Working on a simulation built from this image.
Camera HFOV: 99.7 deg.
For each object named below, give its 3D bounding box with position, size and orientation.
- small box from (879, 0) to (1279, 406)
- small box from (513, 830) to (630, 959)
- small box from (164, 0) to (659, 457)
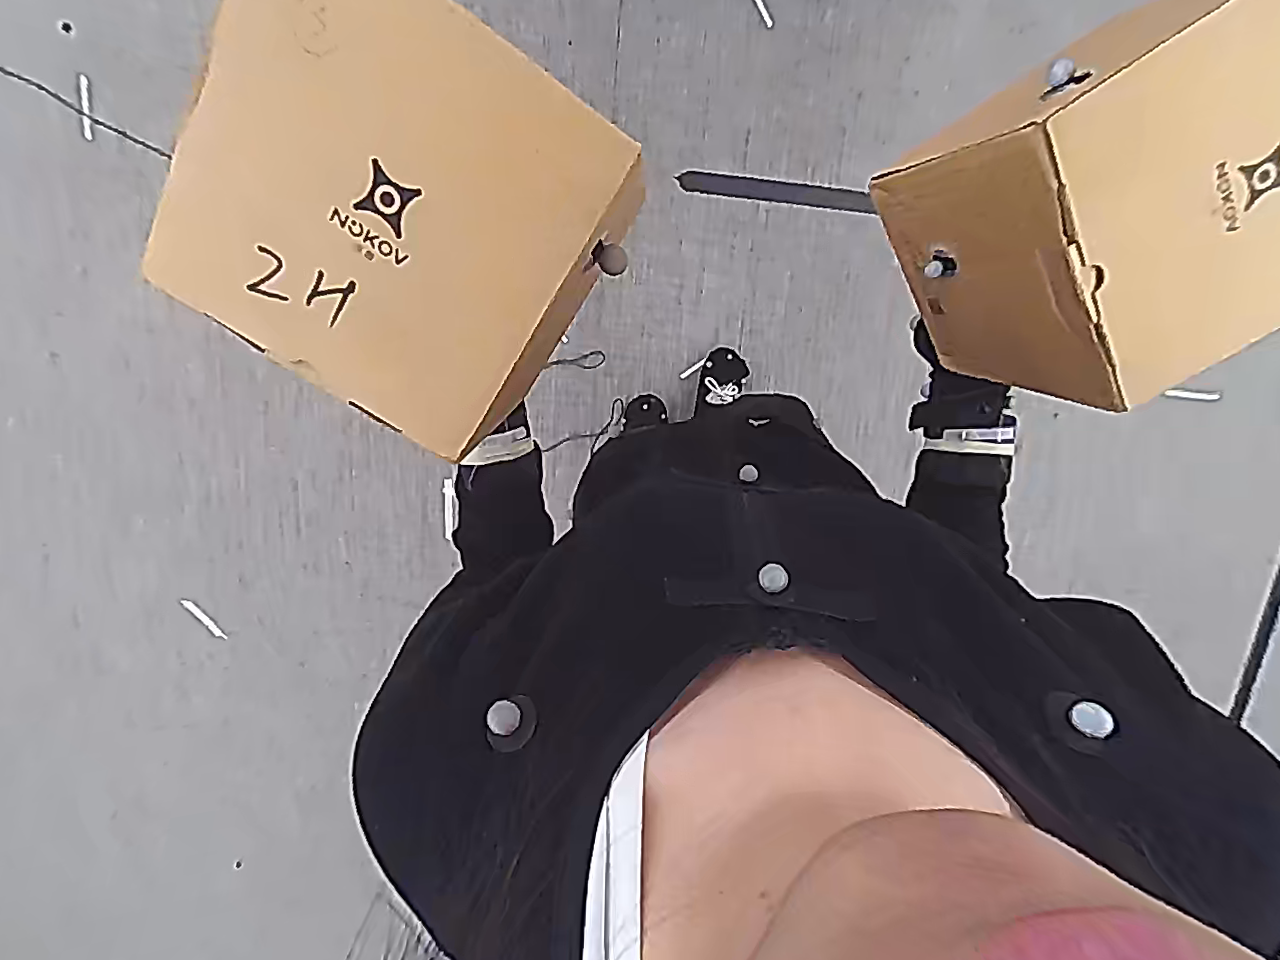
[{"bbox_3d":[0.292,-0.177,0.341,0.179,0.176,0.168,-32,110,8],"label":"small box"},{"bbox_3d":[-0.111,0.735,0.923,0.179,0.176,0.168,4,101,-1],"label":"small box"},{"bbox_3d":[-0.106,-0.149,0.315,0.168,0.176,0.179,33,109,-11],"label":"small box"}]
